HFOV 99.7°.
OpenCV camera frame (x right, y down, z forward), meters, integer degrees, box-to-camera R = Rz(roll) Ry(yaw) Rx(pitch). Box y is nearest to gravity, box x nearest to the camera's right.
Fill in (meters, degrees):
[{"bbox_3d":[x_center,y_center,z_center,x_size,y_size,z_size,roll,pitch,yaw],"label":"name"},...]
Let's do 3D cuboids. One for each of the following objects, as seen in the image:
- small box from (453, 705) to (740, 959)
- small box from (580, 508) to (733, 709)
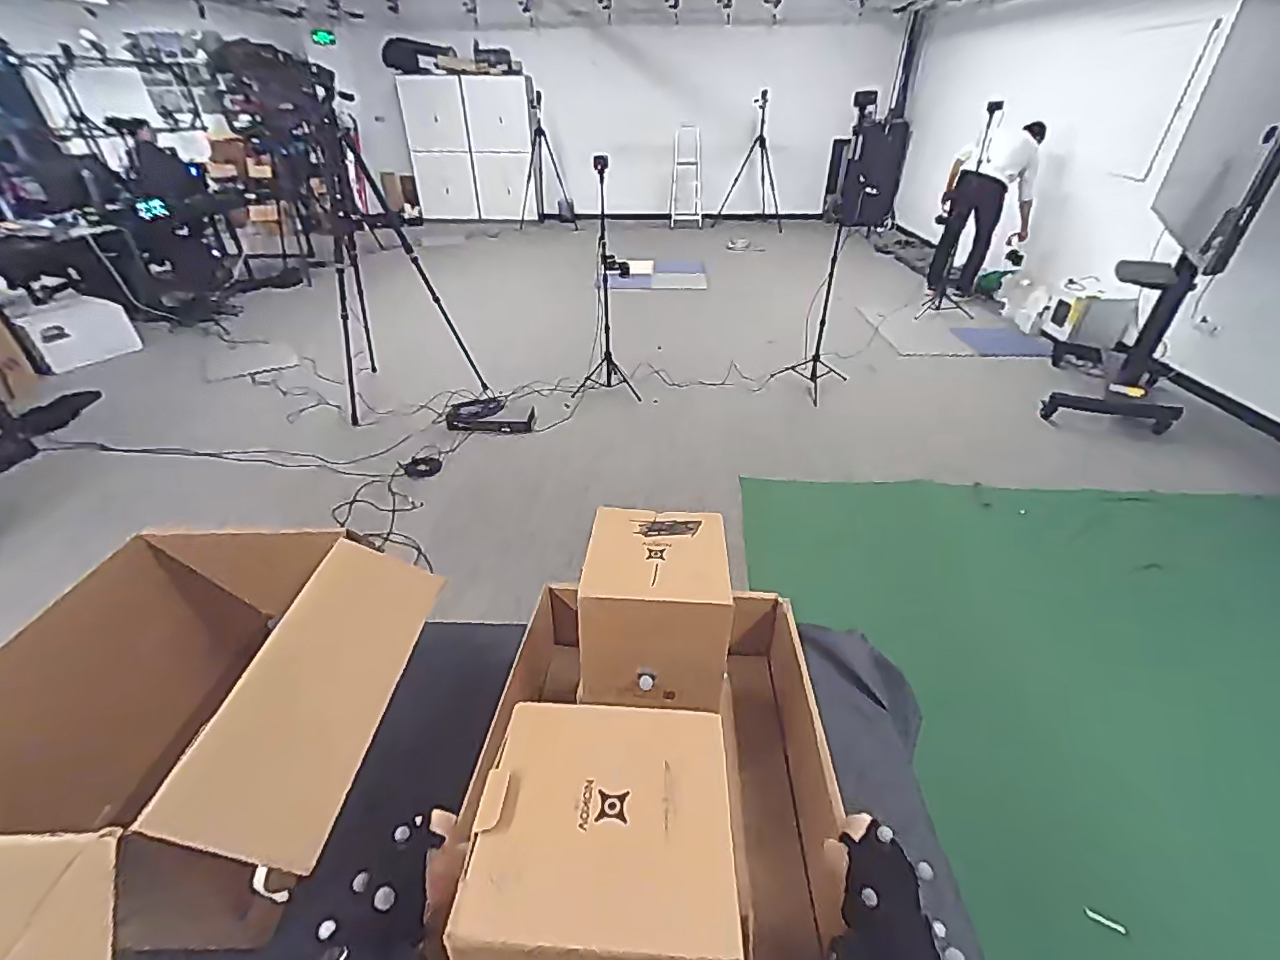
[{"bbox_3d":[-0.023,0.305,0.425,0.179,0.176,0.168,2,30,2],"label":"small box"},{"bbox_3d":[0.020,0.154,0.678,0.168,0.176,0.179,2,31,3],"label":"small box"}]
